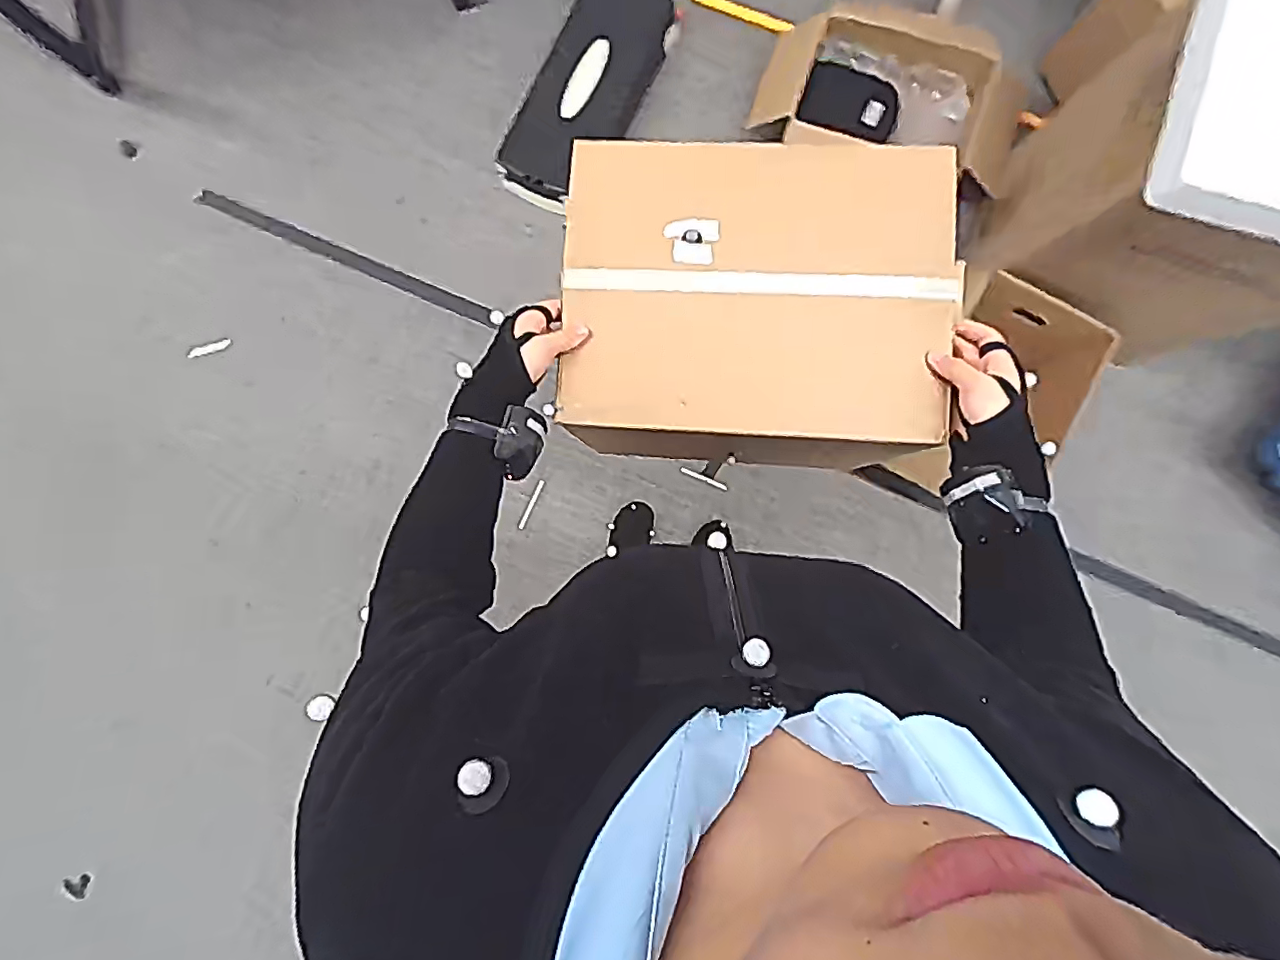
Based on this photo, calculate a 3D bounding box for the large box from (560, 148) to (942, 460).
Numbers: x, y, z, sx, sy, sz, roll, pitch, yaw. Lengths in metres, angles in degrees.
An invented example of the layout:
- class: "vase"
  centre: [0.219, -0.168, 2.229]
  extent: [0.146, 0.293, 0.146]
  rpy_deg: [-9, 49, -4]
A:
- class: "large box"
  centre: [0.131, -0.194, 0.727]
  extent: [0.408, 0.320, 0.320]
  rpy_deg: [2, 86, 6]
